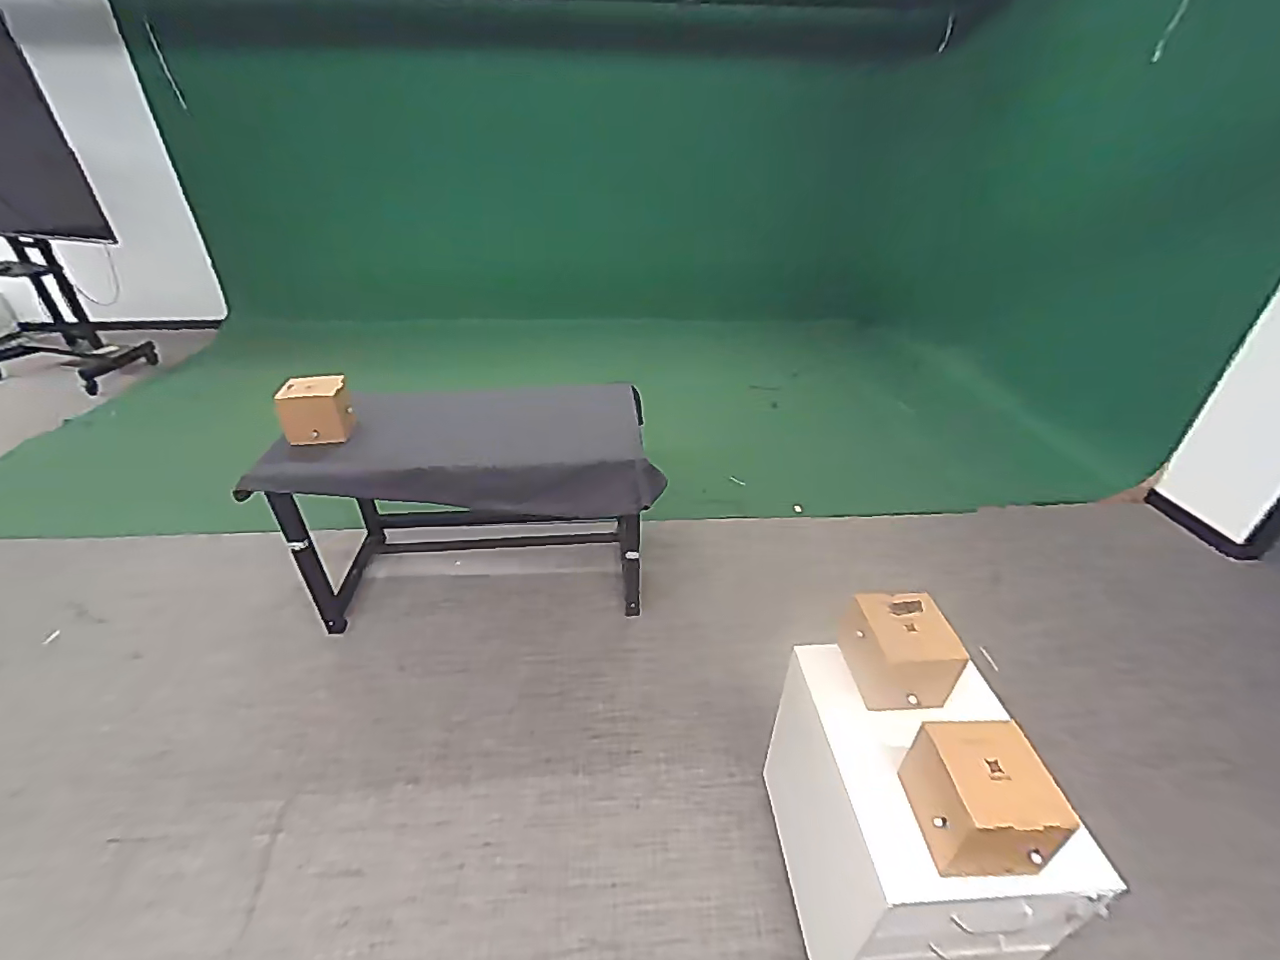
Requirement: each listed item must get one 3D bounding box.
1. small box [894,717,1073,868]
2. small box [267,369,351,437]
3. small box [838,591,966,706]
[{"bbox_3d":[0.564,0.530,0.917,0.168,0.176,0.179,1,32,-3],"label":"small box"},{"bbox_3d":[-1.072,-0.253,1.770,0.179,0.176,0.168,-4,34,-12],"label":"small box"},{"bbox_3d":[0.548,0.360,1.163,0.168,0.176,0.179,-1,36,-4],"label":"small box"}]
